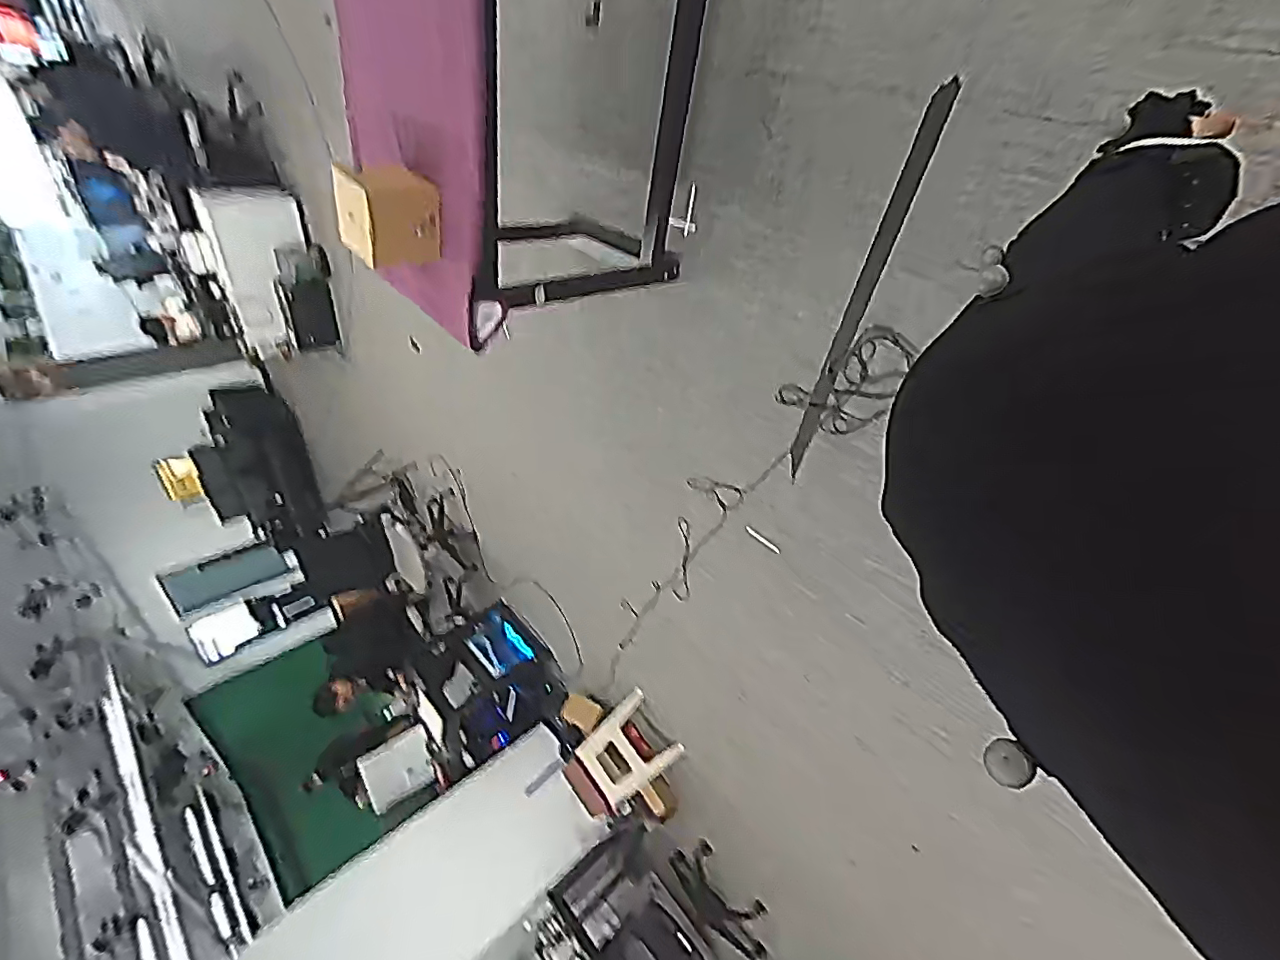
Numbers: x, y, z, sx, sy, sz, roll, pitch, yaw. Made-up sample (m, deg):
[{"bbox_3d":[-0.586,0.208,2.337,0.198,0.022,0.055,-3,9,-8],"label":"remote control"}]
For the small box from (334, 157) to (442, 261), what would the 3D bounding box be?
[{"bbox_3d":[-0.586,-0.635,1.268,0.179,0.176,0.168,42,137,25],"label":"small box"}]
